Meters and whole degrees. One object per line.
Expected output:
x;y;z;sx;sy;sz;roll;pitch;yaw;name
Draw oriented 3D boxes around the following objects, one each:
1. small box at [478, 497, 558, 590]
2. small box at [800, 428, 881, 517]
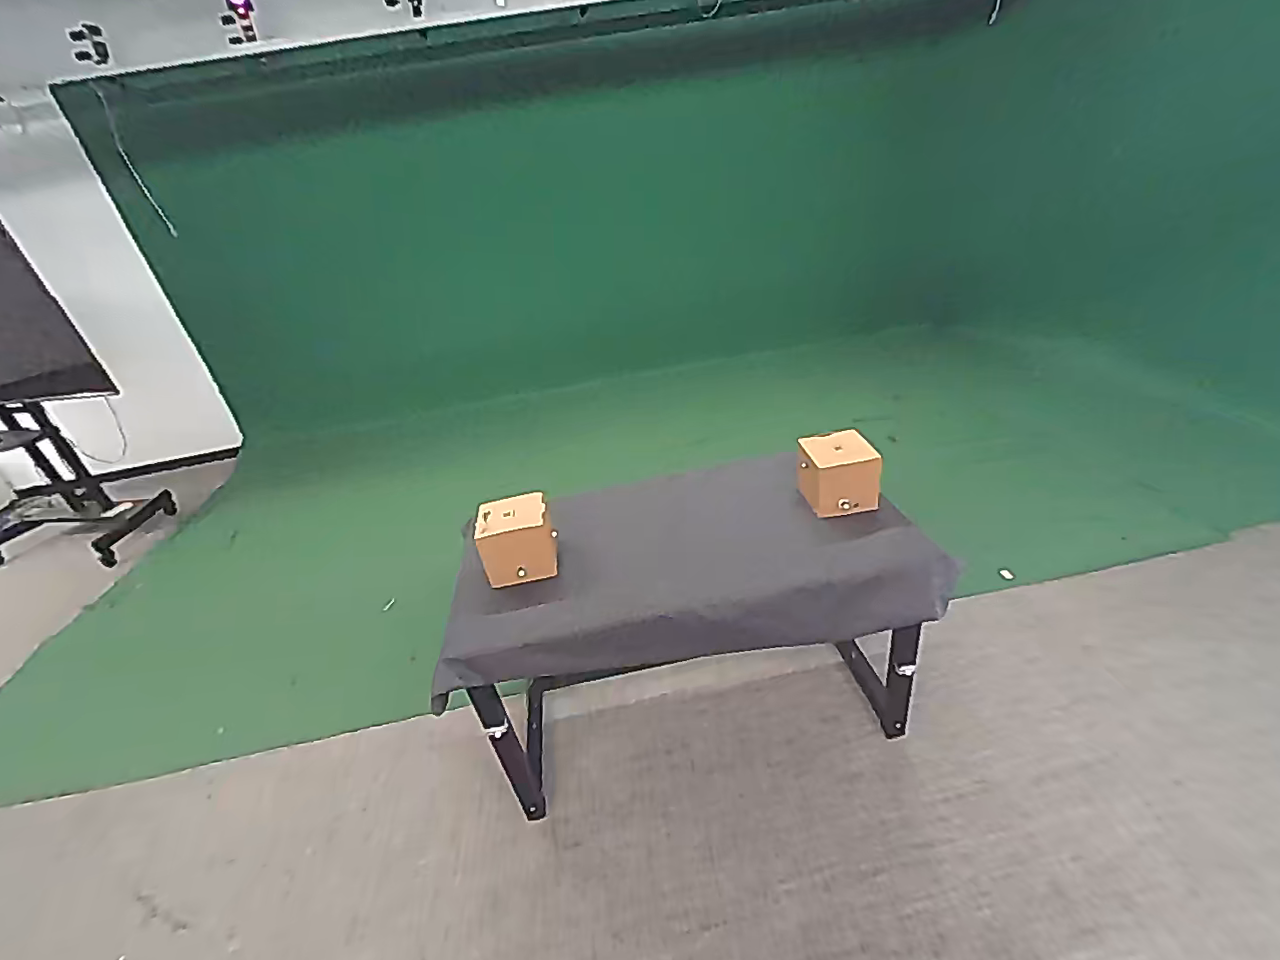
-0.319;0.171;1.453;0.179;0.176;0.168;-11;30;-4;small box
0.547;-0.022;1.495;0.168;0.176;0.179;-10;30;4;small box
